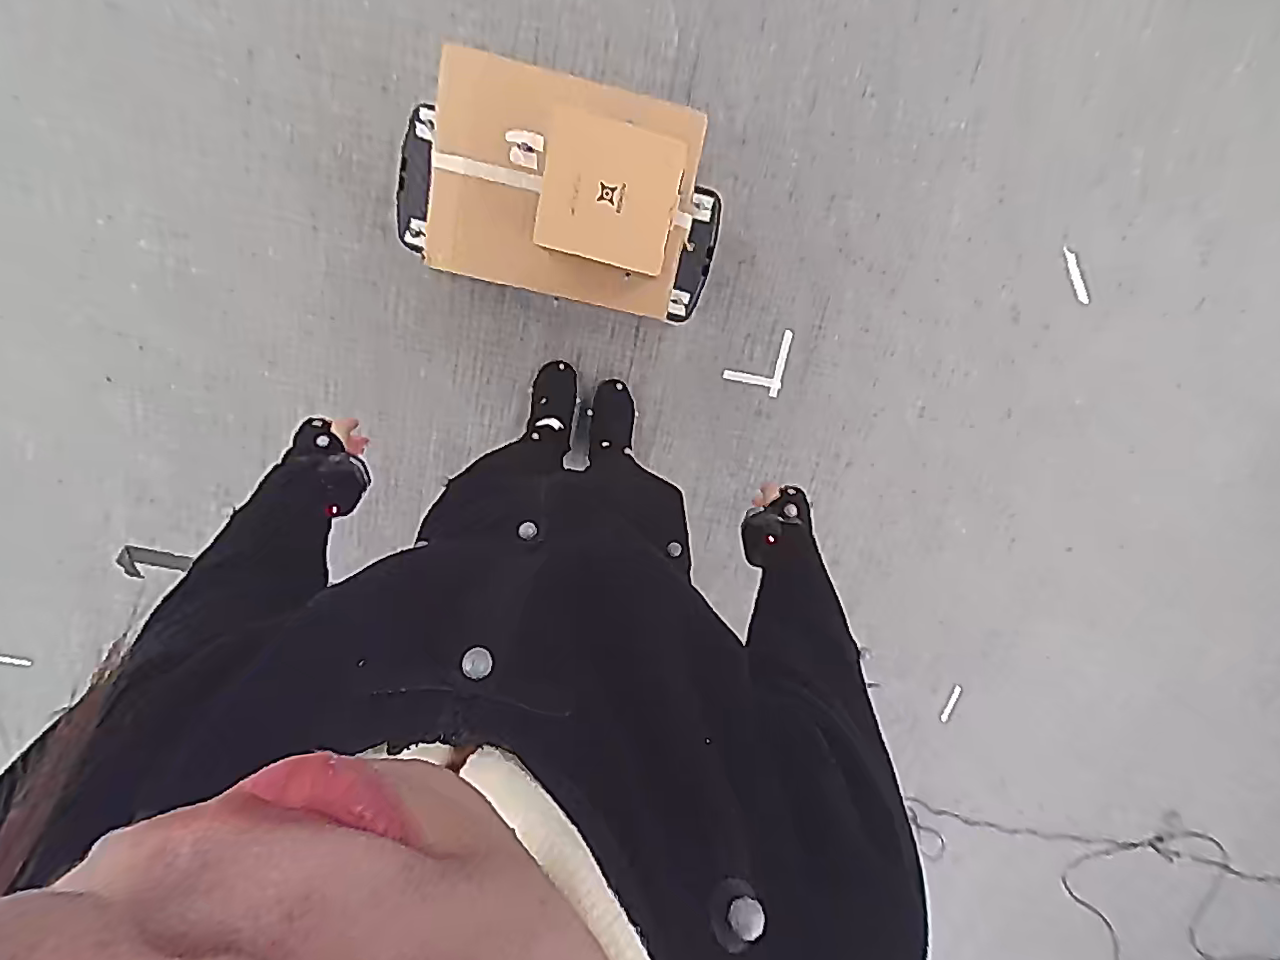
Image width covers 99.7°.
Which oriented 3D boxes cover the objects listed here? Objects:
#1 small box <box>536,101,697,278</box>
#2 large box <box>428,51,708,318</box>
[{"bbox_3d":[-0.035,-0.390,0.761,0.179,0.176,0.168,13,107,-6],"label":"small box"},{"bbox_3d":[-0.120,-0.491,0.984,0.408,0.320,0.320,11,106,-5],"label":"large box"}]
